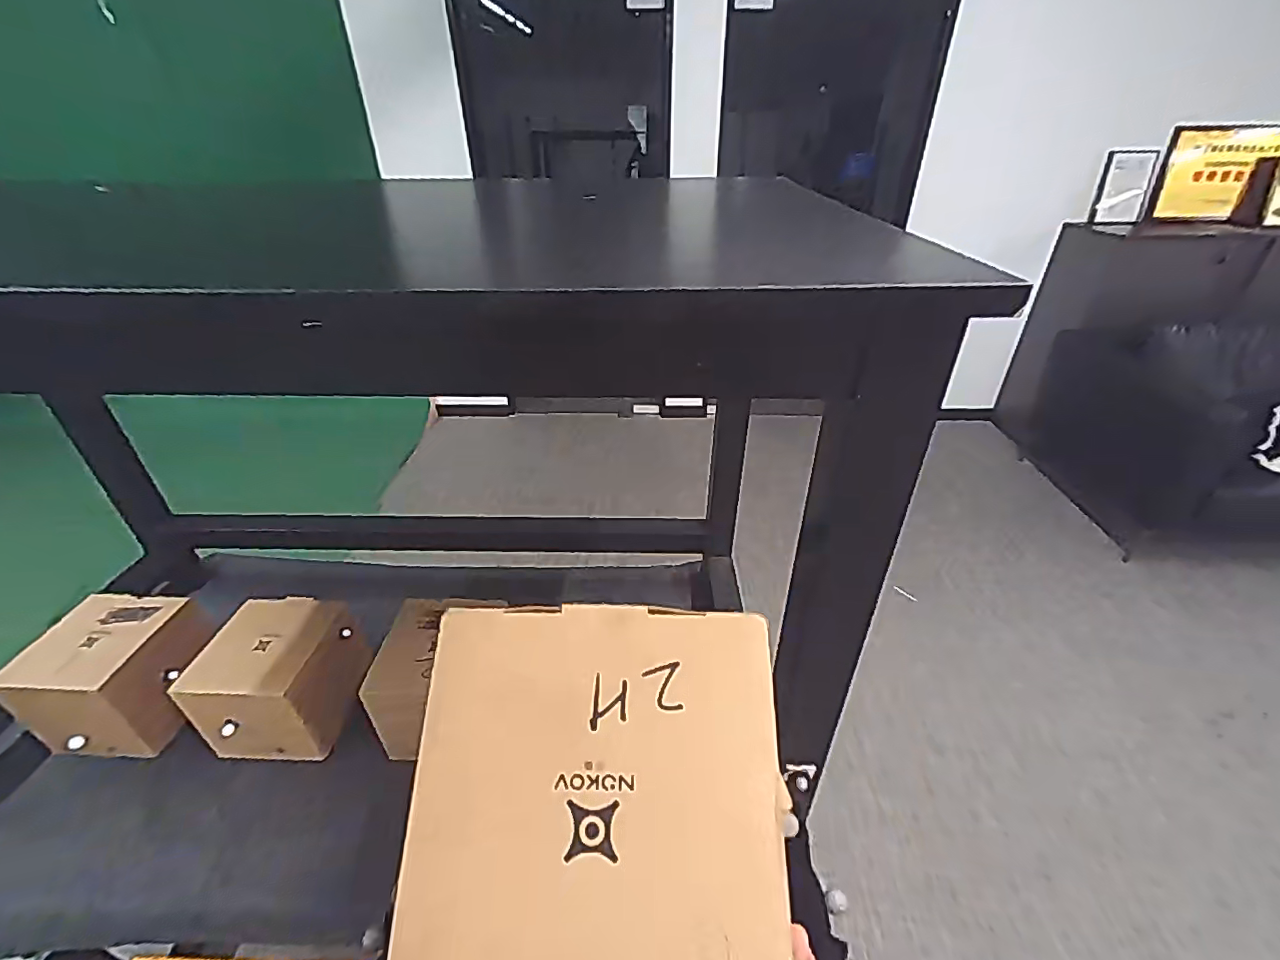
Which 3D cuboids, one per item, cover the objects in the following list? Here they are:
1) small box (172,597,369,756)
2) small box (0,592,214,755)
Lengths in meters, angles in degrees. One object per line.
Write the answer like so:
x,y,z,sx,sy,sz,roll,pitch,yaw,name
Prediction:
-0.555,0.307,0.847,0.168,0.176,0.179,1,33,2,small box
-0.808,0.301,0.851,0.168,0.176,0.179,1,34,2,small box
